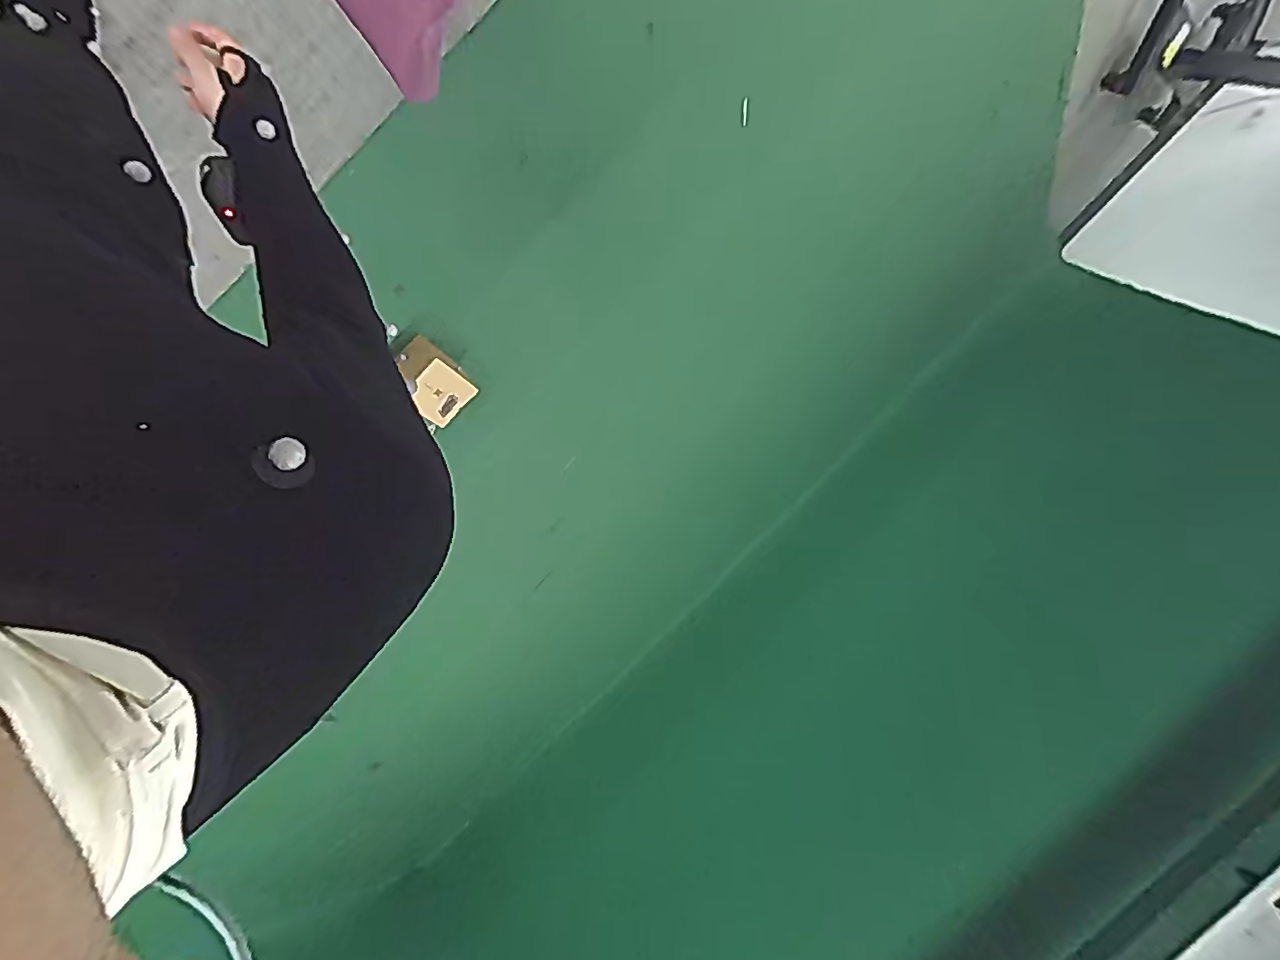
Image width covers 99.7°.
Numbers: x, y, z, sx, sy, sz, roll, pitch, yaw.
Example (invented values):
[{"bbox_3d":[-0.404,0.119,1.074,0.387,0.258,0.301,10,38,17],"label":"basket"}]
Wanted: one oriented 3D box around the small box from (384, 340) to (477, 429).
[{"bbox_3d":[-0.630,-0.290,1.624,0.168,0.176,0.179,-46,142,2],"label":"small box"}]
